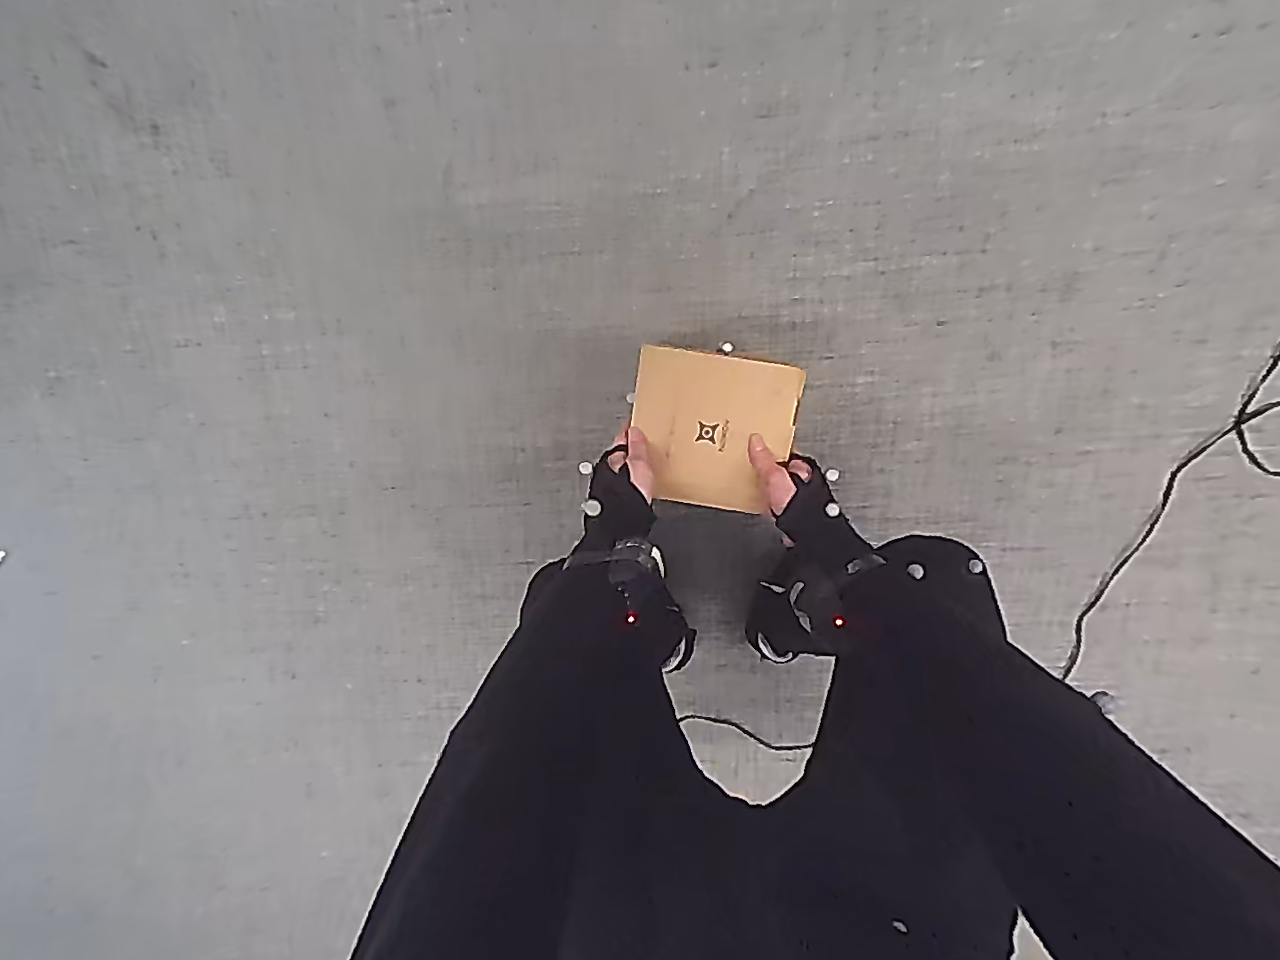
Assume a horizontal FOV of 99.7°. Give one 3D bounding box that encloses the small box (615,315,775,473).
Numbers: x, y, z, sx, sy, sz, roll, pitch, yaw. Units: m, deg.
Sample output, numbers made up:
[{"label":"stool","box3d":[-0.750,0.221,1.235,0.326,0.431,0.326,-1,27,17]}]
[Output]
[{"label":"small box","box3d":[0.086,-0.132,0.815,0.179,0.176,0.168,-24,100,13]}]
